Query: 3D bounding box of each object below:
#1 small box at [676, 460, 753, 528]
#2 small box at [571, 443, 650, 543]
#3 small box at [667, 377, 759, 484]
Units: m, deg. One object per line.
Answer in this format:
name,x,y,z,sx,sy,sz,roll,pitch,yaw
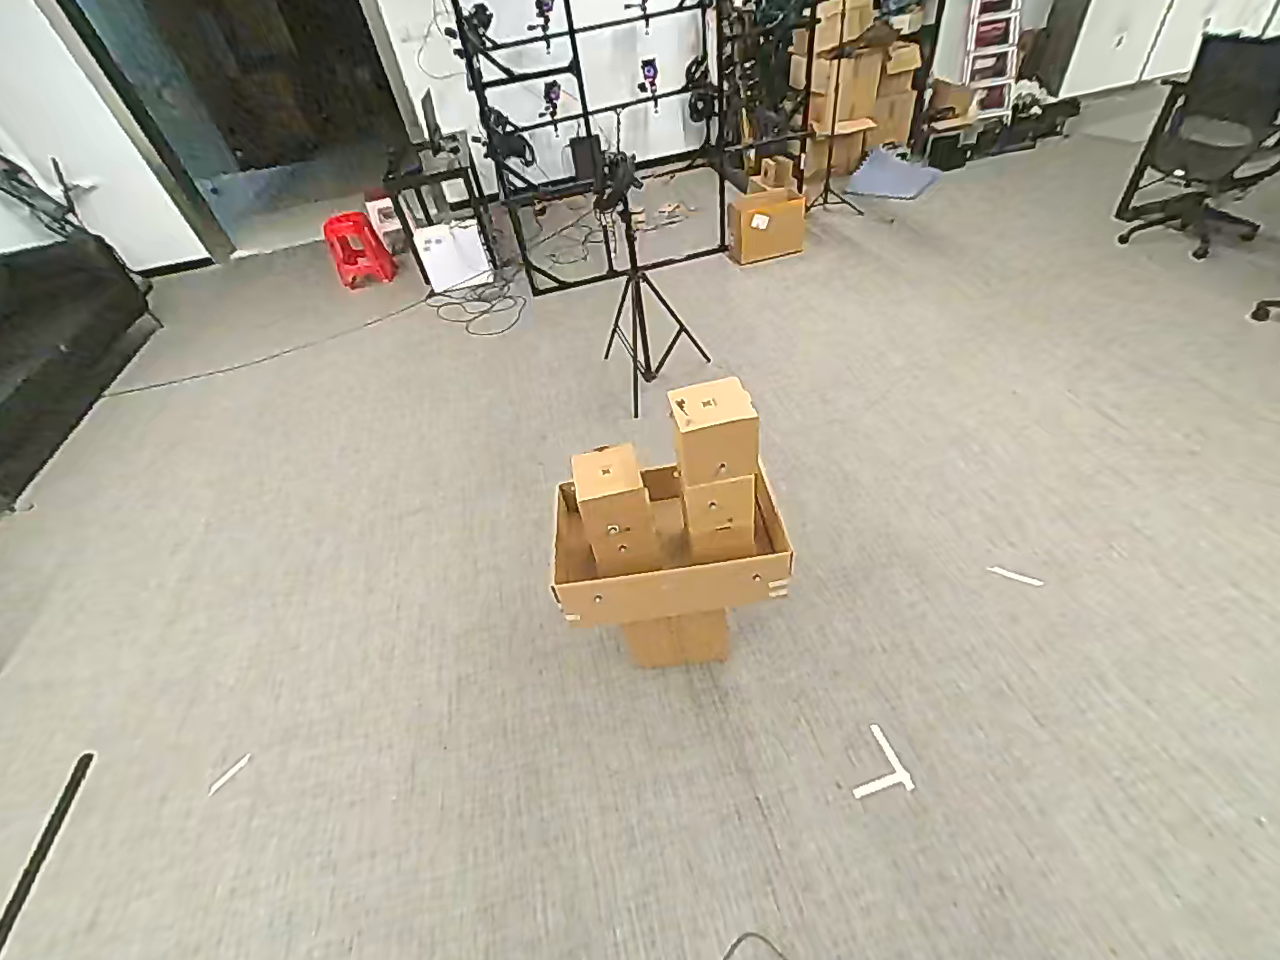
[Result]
small box,0.188,0.006,1.373,0.168,0.176,0.179,-10,43,0
small box,-0.075,0.034,1.394,0.168,0.176,0.179,-13,43,-2
small box,0.167,-0.114,1.263,0.179,0.176,0.168,-11,42,-1
